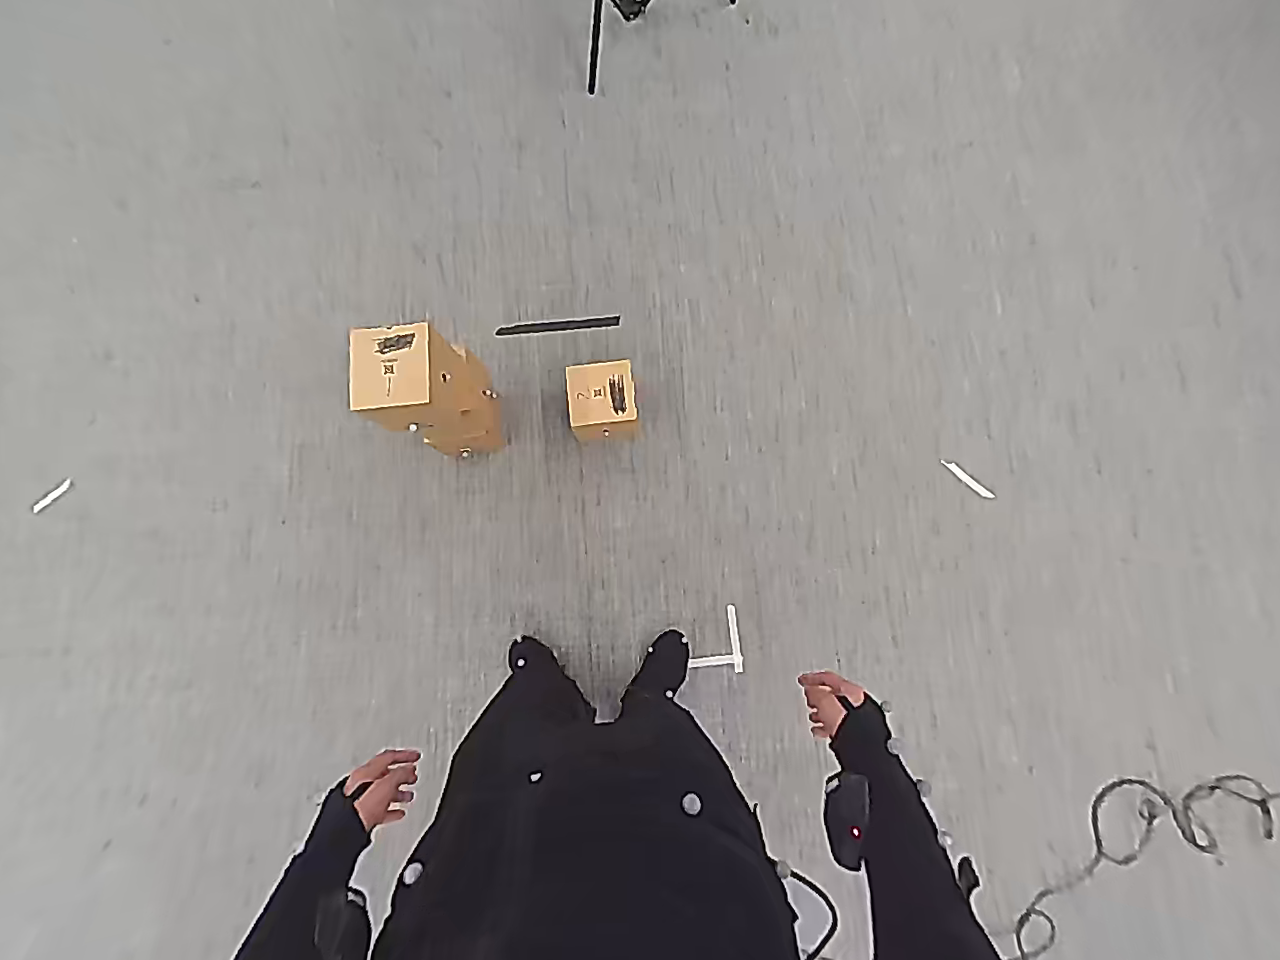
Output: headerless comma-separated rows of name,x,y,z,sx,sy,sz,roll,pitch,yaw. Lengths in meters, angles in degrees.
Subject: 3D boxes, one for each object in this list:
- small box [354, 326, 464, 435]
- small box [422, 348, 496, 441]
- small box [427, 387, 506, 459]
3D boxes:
small box,-0.488,-0.208,1.162,0.168,0.176,0.179,-5,80,2
small box,-0.469,-0.203,1.327,0.179,0.176,0.168,-9,79,1
small box,-0.476,-0.168,1.488,0.168,0.176,0.179,-8,80,1
